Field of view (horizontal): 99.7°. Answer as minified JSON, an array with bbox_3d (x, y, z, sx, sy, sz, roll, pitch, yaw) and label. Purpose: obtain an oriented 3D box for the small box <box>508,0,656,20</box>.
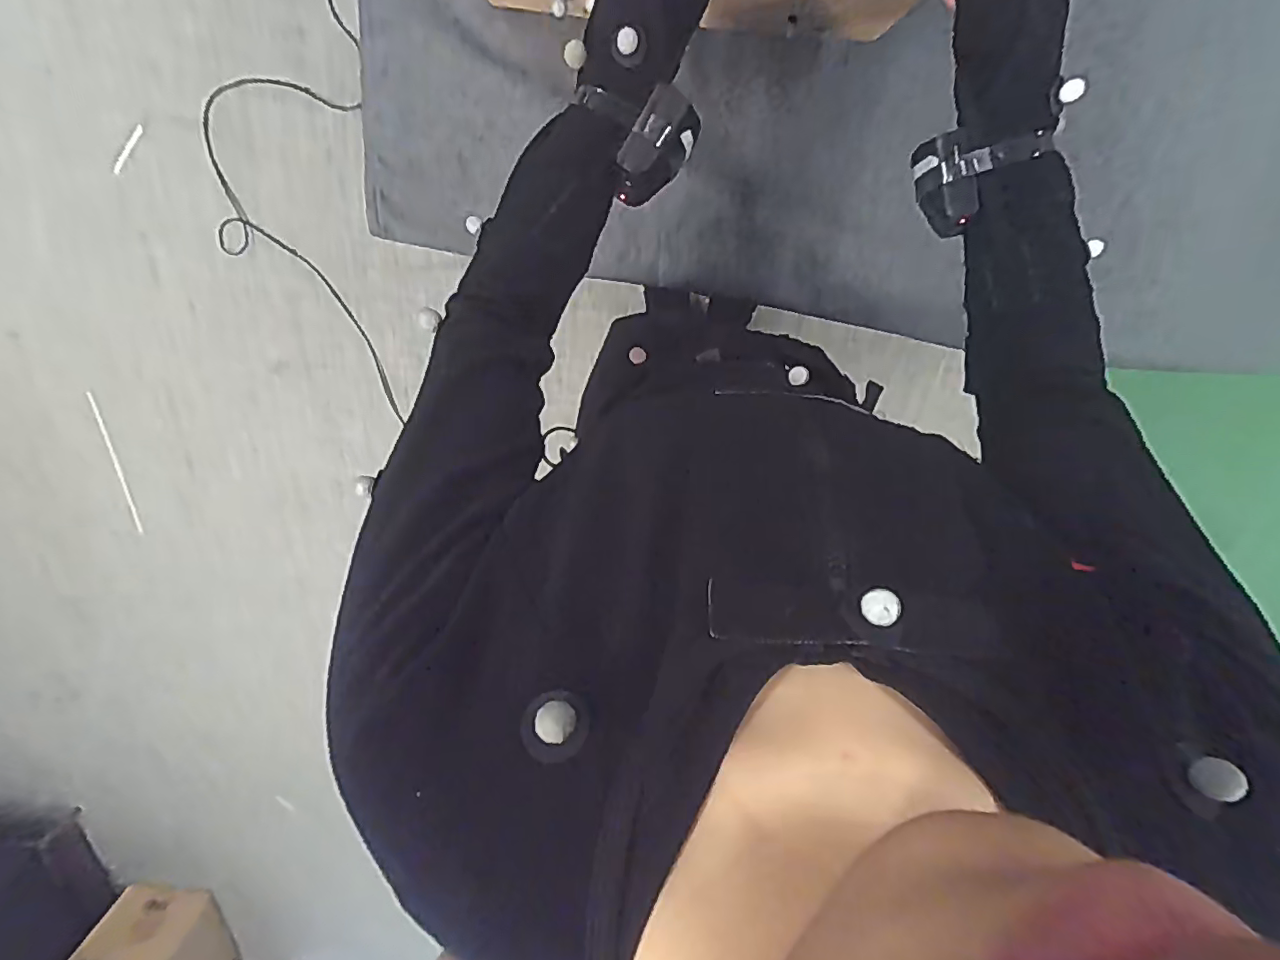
[{"bbox_3d":[-0.060,-0.515,0.430,0.168,0.176,0.179,8,115,0],"label":"small box"}]
